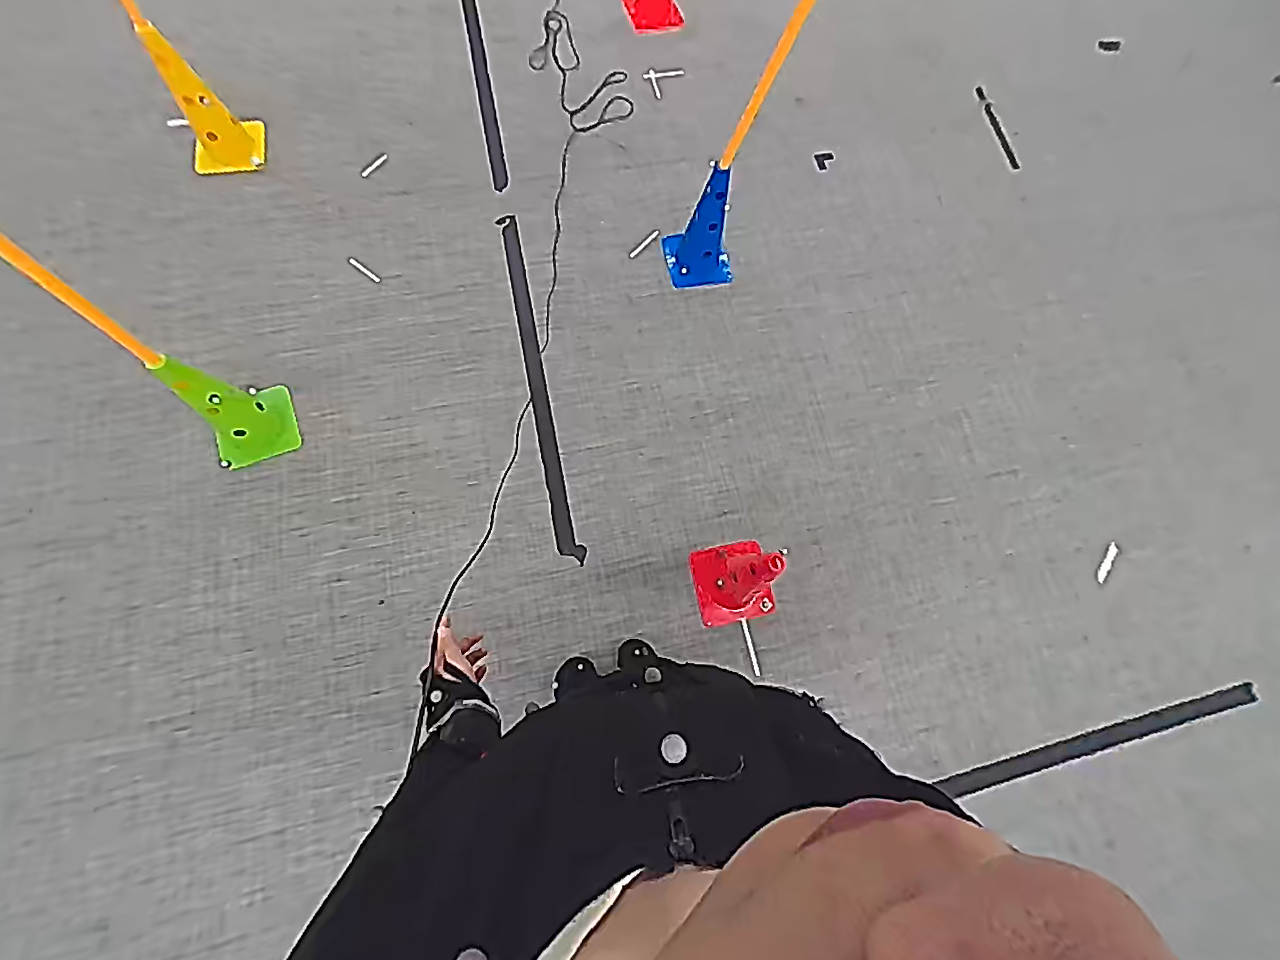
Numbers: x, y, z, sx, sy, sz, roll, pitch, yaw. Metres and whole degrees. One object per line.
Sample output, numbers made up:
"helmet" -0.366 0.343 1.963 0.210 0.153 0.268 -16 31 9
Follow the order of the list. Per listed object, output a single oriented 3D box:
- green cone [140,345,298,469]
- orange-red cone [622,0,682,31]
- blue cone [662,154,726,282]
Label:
"green cone" -1.016 -0.199 1.278 0.200 0.368 0.202 -21 74 -11
"orange-red cone" 0.057 -1.827 1.881 0.199 0.360 0.198 -16 74 -8
"blue cone" 0.189 -0.767 1.577 0.193 0.380 0.192 -8 73 -8
